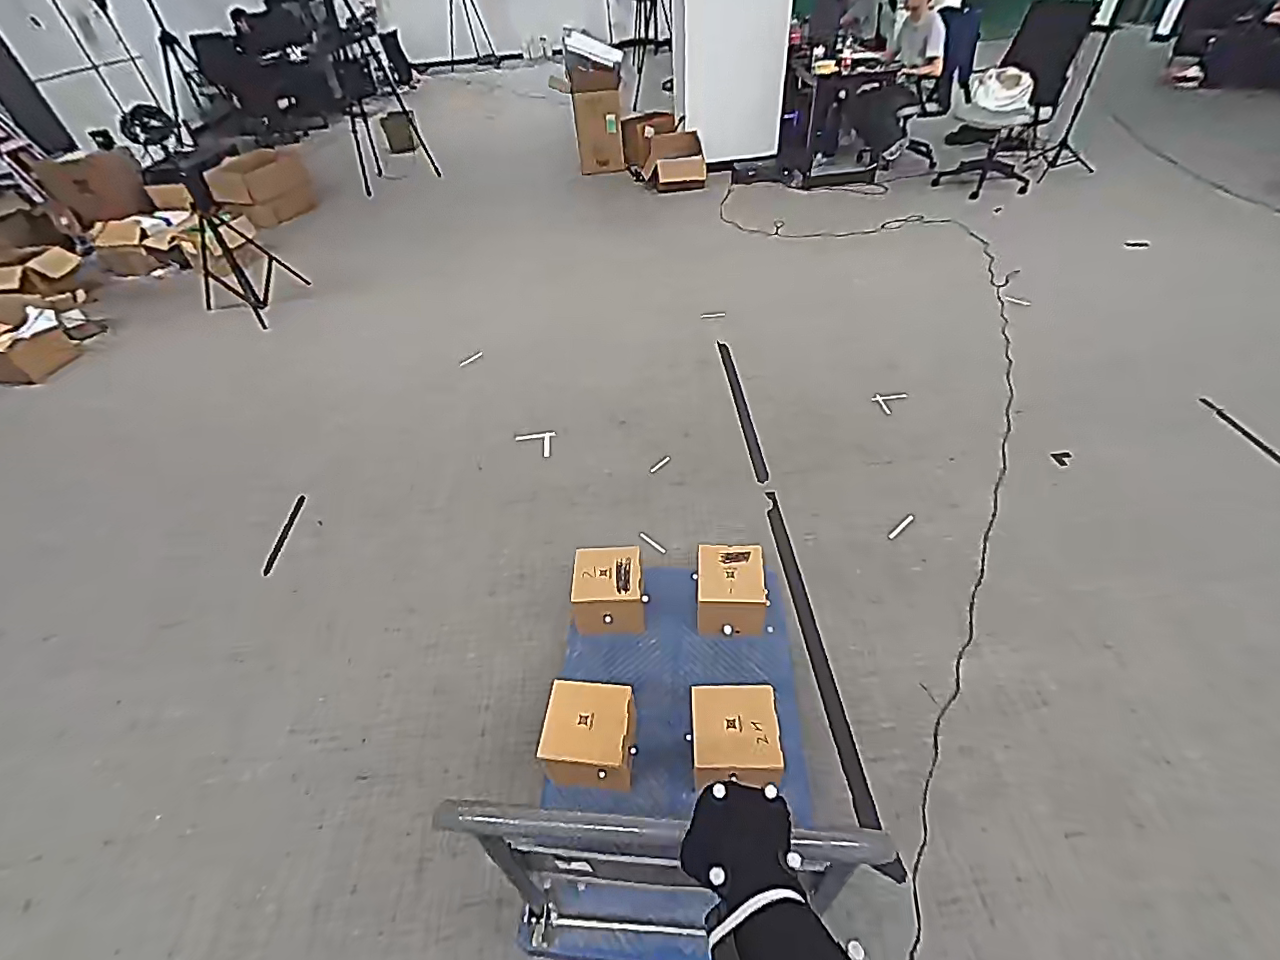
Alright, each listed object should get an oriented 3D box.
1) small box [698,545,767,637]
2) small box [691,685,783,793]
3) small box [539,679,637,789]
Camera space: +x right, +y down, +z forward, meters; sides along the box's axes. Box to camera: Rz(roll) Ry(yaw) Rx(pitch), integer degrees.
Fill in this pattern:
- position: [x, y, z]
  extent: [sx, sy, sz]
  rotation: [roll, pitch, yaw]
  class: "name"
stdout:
- position: [0.239, 0.292, 1.425]
  extent: [0.168, 0.176, 0.179]
  rotation: [0, 46, 7]
  class: "small box"
- position: [0.202, 0.558, 1.159]
  extent: [0.179, 0.176, 0.168]
  rotation: [-1, 45, 5]
  class: "small box"
- position: [-0.106, 0.561, 1.190]
  extent: [0.179, 0.176, 0.168]
  rotation: [3, 45, 7]
  class: "small box"
